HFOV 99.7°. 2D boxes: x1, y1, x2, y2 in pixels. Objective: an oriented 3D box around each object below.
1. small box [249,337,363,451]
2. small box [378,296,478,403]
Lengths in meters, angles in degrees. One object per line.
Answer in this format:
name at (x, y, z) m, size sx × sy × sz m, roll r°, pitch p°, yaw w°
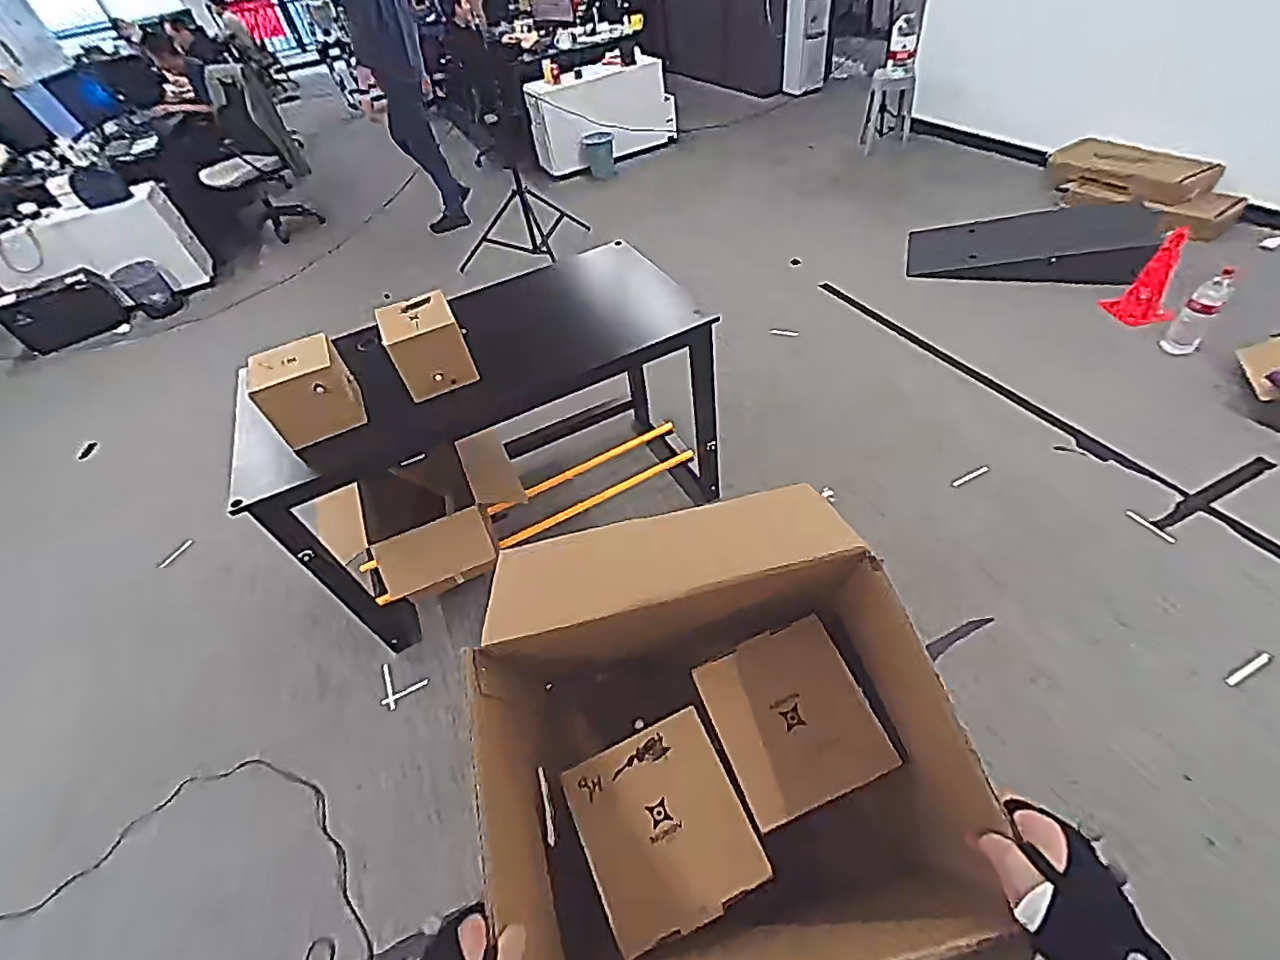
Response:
small box at (-0.769, -0.200, 1.261) m, size 0.179 × 0.176 × 0.168 m, roll -25°, pitch 48°, yaw -13°
small box at (-0.519, -0.319, 1.330) m, size 0.168 × 0.176 × 0.179 m, roll -24°, pitch 49°, yaw -12°
